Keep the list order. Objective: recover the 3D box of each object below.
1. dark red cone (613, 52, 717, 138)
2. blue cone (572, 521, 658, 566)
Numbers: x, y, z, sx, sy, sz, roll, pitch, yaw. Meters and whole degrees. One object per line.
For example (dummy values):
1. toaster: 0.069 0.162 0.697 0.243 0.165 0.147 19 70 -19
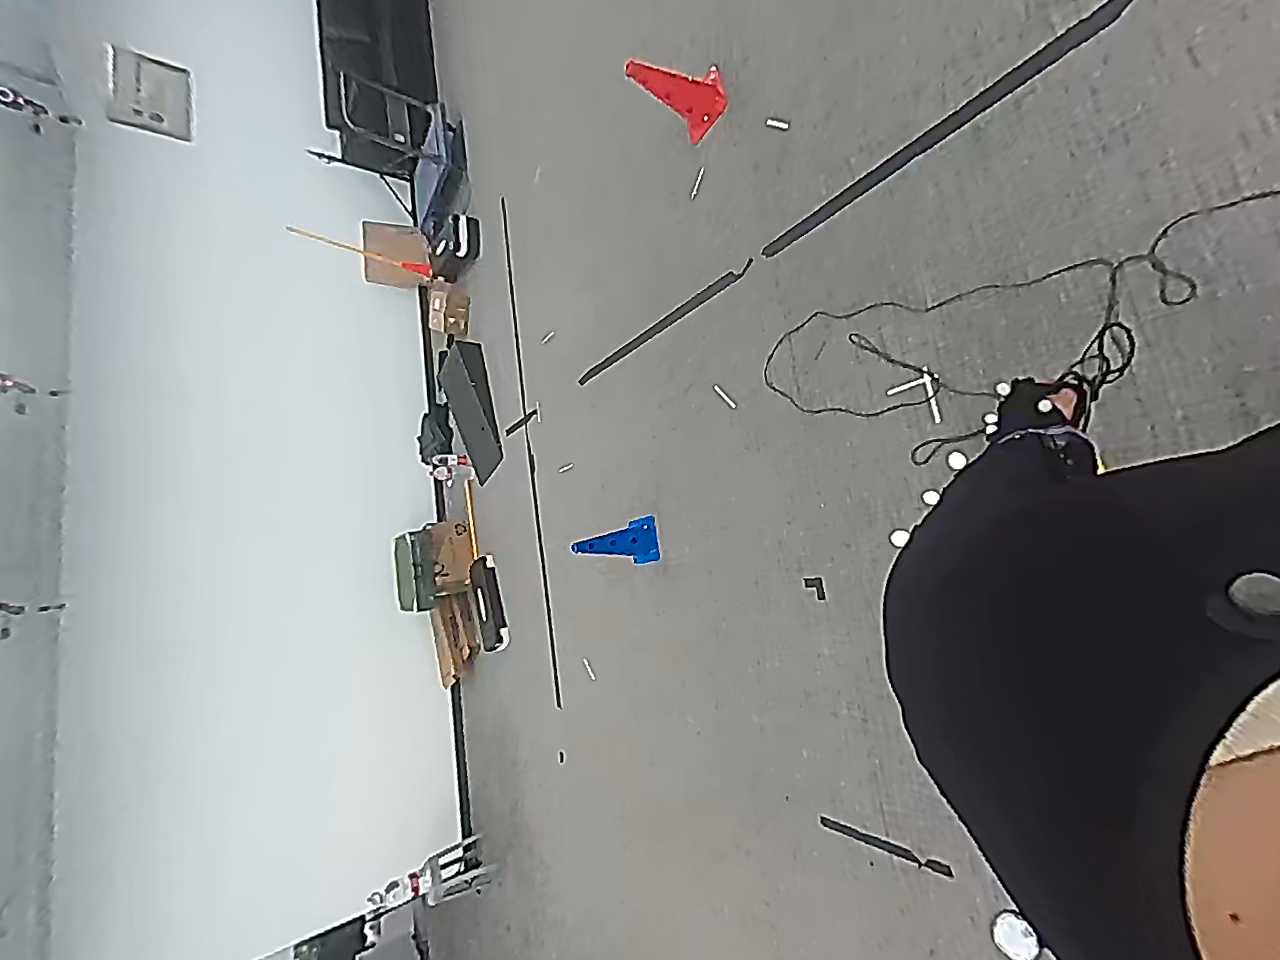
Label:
1. dark red cone: 0.074 -1.416 1.926 0.202 0.394 0.201 -31 67 51
2. blue cone: -0.120 0.290 2.312 0.193 0.380 0.192 -18 77 54
